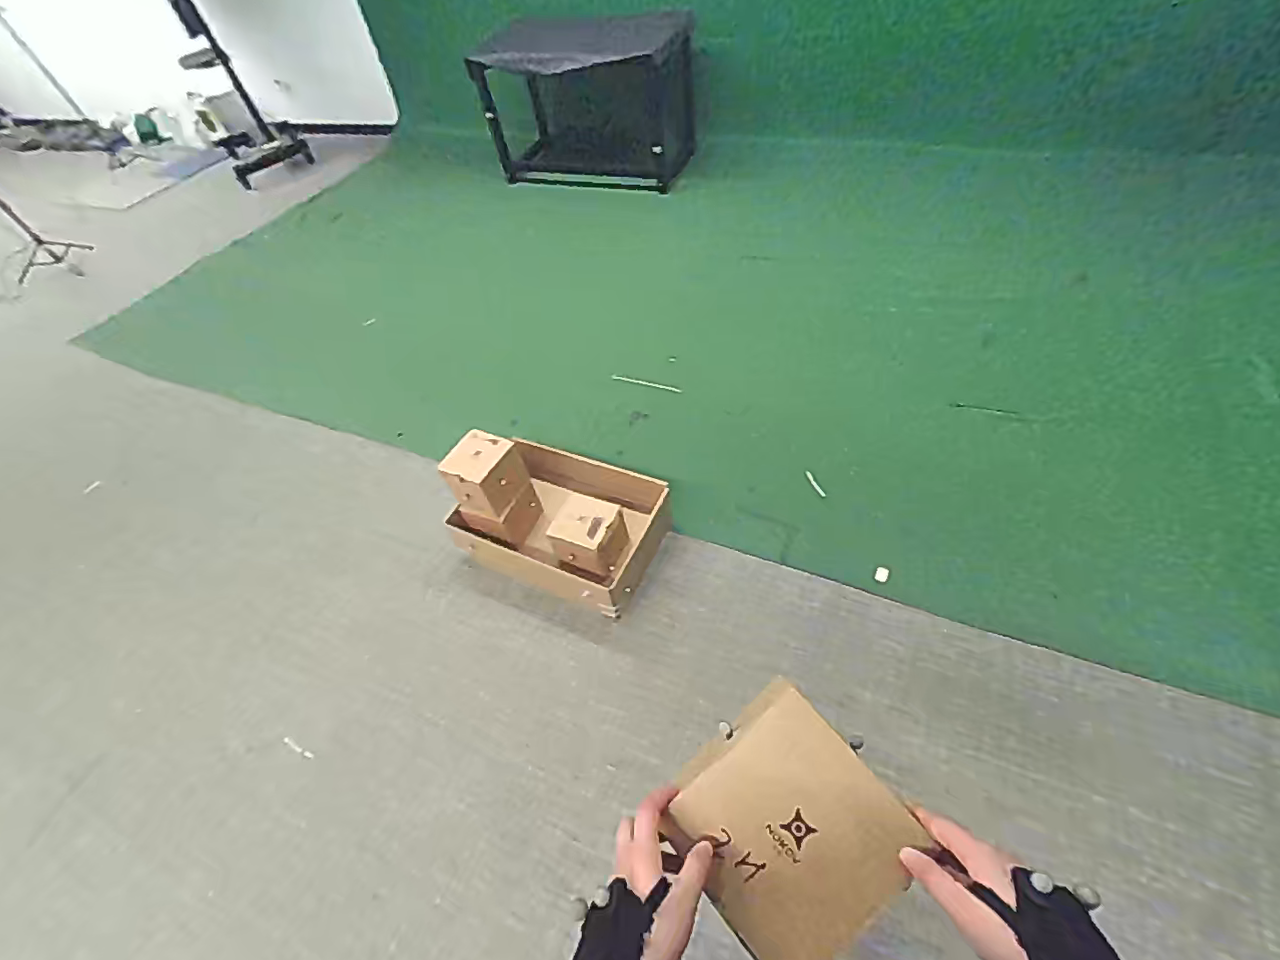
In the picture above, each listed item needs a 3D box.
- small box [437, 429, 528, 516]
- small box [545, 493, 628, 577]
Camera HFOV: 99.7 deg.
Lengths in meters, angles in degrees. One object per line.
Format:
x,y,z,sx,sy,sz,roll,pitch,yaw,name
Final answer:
-0.463,-0.018,1.620,0.168,0.176,0.179,18,57,22,small box
-0.152,0.170,1.630,0.179,0.176,0.168,16,56,22,small box
